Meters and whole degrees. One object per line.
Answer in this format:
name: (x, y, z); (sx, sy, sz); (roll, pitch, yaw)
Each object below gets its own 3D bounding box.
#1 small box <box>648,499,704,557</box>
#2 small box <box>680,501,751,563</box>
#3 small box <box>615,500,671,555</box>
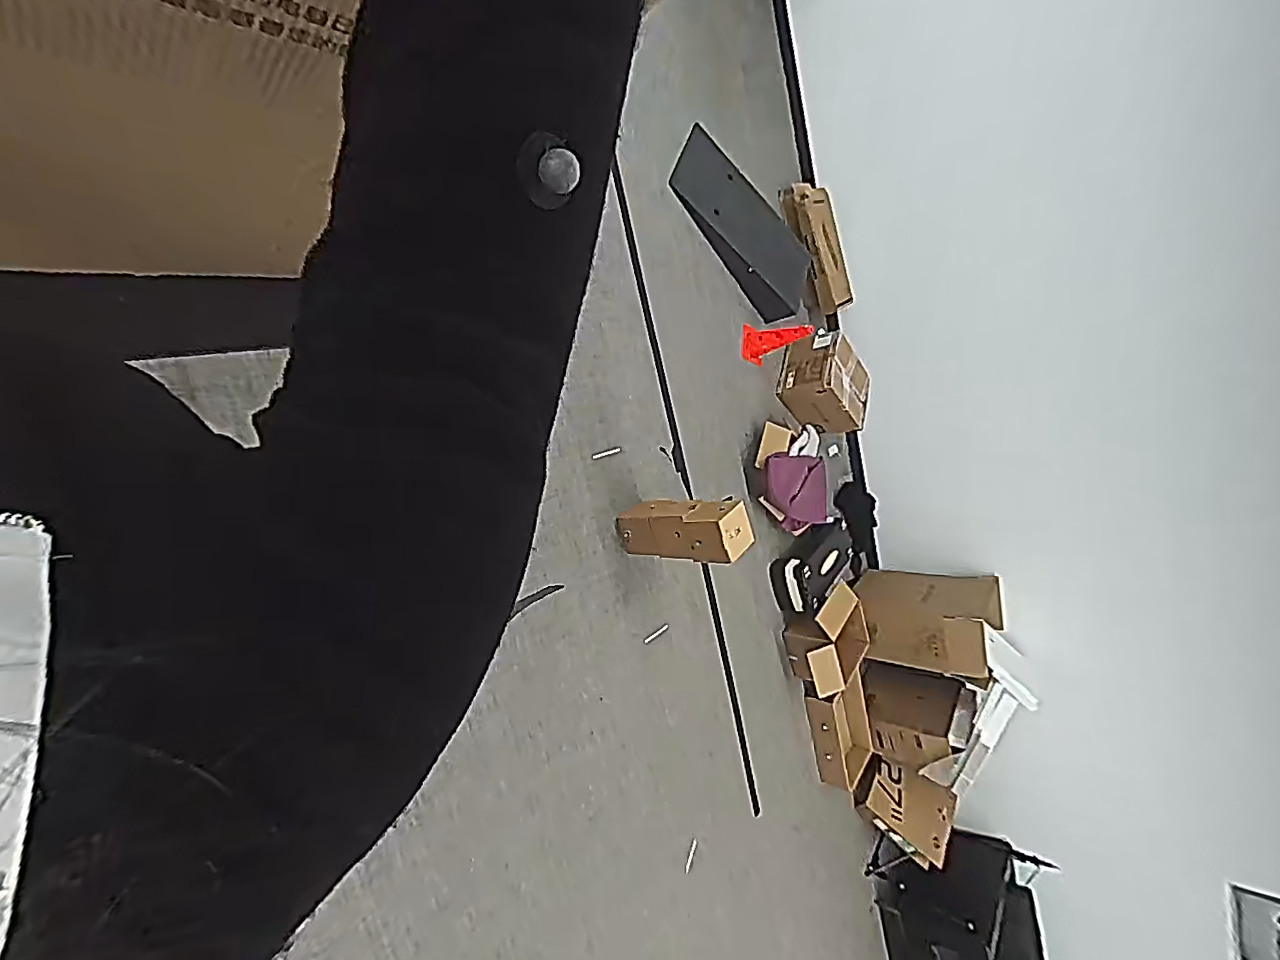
small box: (0.152, 0.183, 2.067); (0.168, 0.176, 0.179); (-28, 107, -44)
small box: (0.272, 0.183, 1.953); (0.179, 0.176, 0.168); (-33, 110, -43)
small box: (0.029, 0.189, 2.176); (0.179, 0.176, 0.168); (-31, 108, -43)
